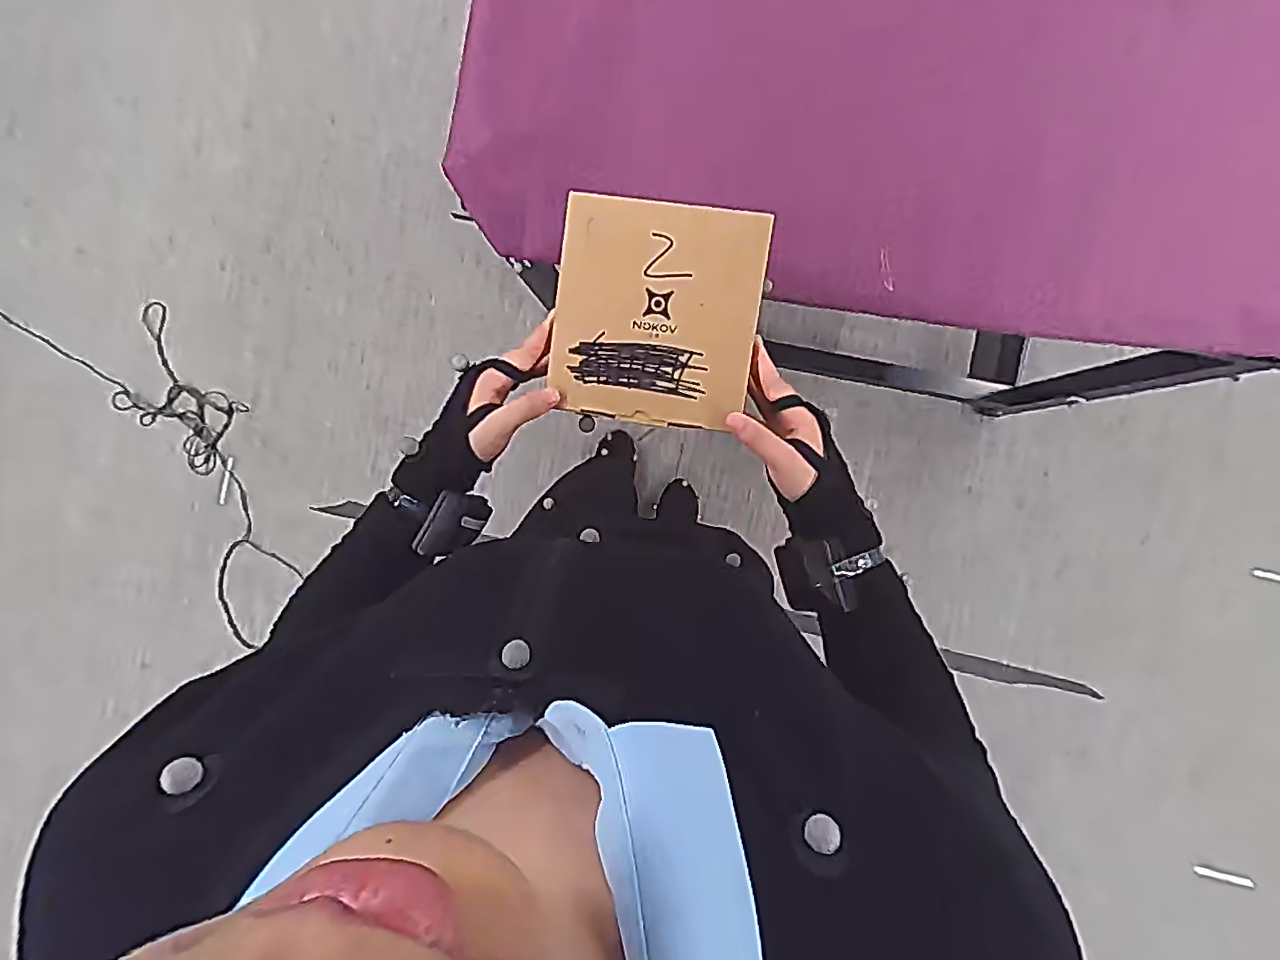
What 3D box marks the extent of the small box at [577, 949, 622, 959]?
[{"bbox_3d":[-0.107,1.378,1.400,0.168,0.176,0.179,10,92,5],"label":"small box"}]
